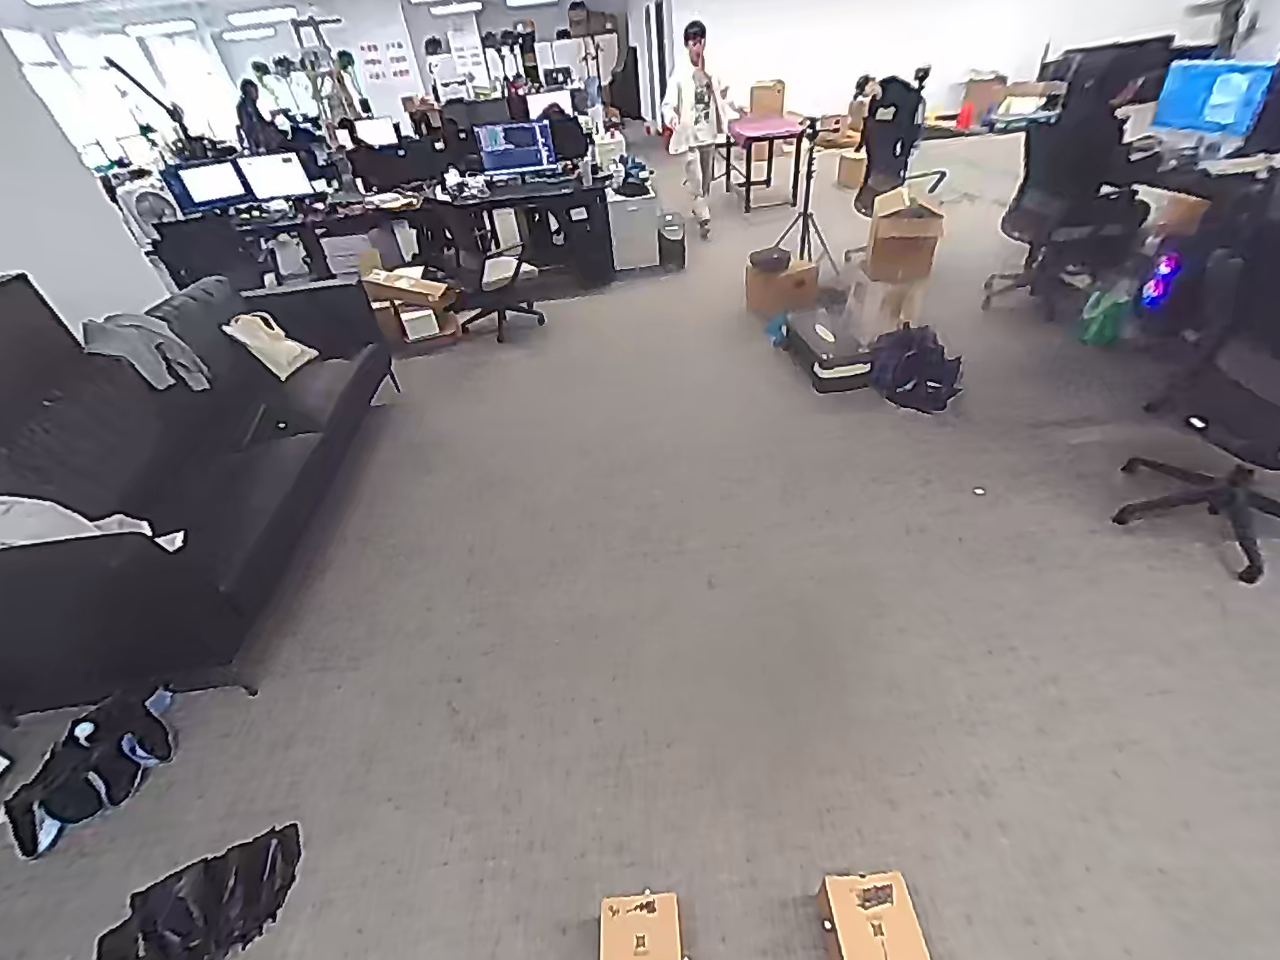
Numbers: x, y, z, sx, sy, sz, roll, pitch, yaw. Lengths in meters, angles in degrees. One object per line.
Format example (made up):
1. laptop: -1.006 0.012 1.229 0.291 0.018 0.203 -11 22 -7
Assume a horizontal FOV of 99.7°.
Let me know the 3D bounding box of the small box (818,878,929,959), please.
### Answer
1. small box: 0.482 0.965 1.128 0.168 0.176 0.179 -6 39 2

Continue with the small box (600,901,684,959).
1. small box: 0.008 1.020 1.135 0.168 0.176 0.179 -6 38 1
